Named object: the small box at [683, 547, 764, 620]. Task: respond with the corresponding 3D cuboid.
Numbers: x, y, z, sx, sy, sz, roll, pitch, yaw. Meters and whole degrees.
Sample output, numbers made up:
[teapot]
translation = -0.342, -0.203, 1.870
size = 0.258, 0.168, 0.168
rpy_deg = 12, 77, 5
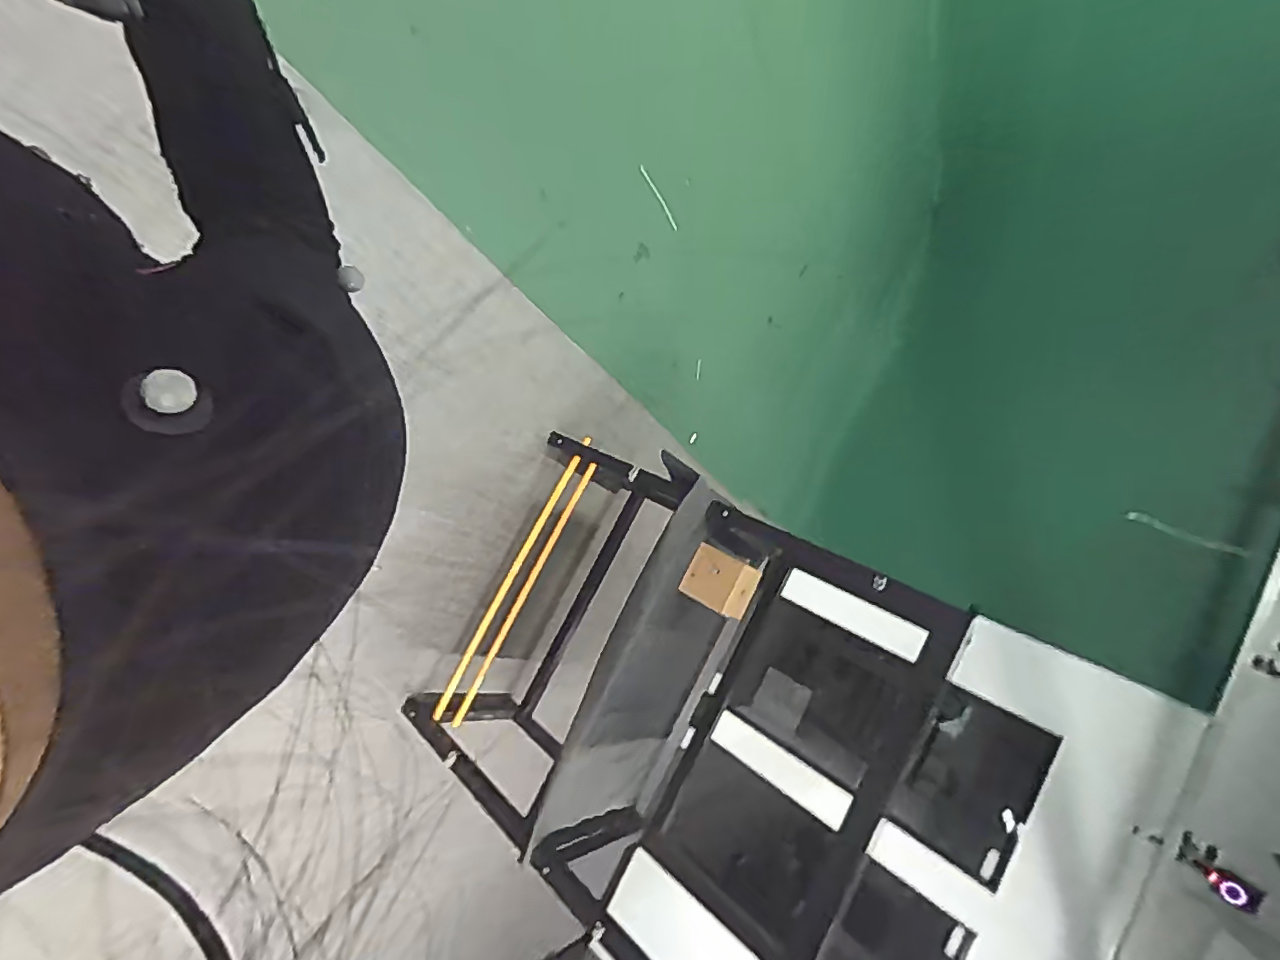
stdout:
[small box]
translation = 0.261, 0.325, 1.711
size = 0.179, 0.176, 0.168
rpy_deg = 32, 84, -55
